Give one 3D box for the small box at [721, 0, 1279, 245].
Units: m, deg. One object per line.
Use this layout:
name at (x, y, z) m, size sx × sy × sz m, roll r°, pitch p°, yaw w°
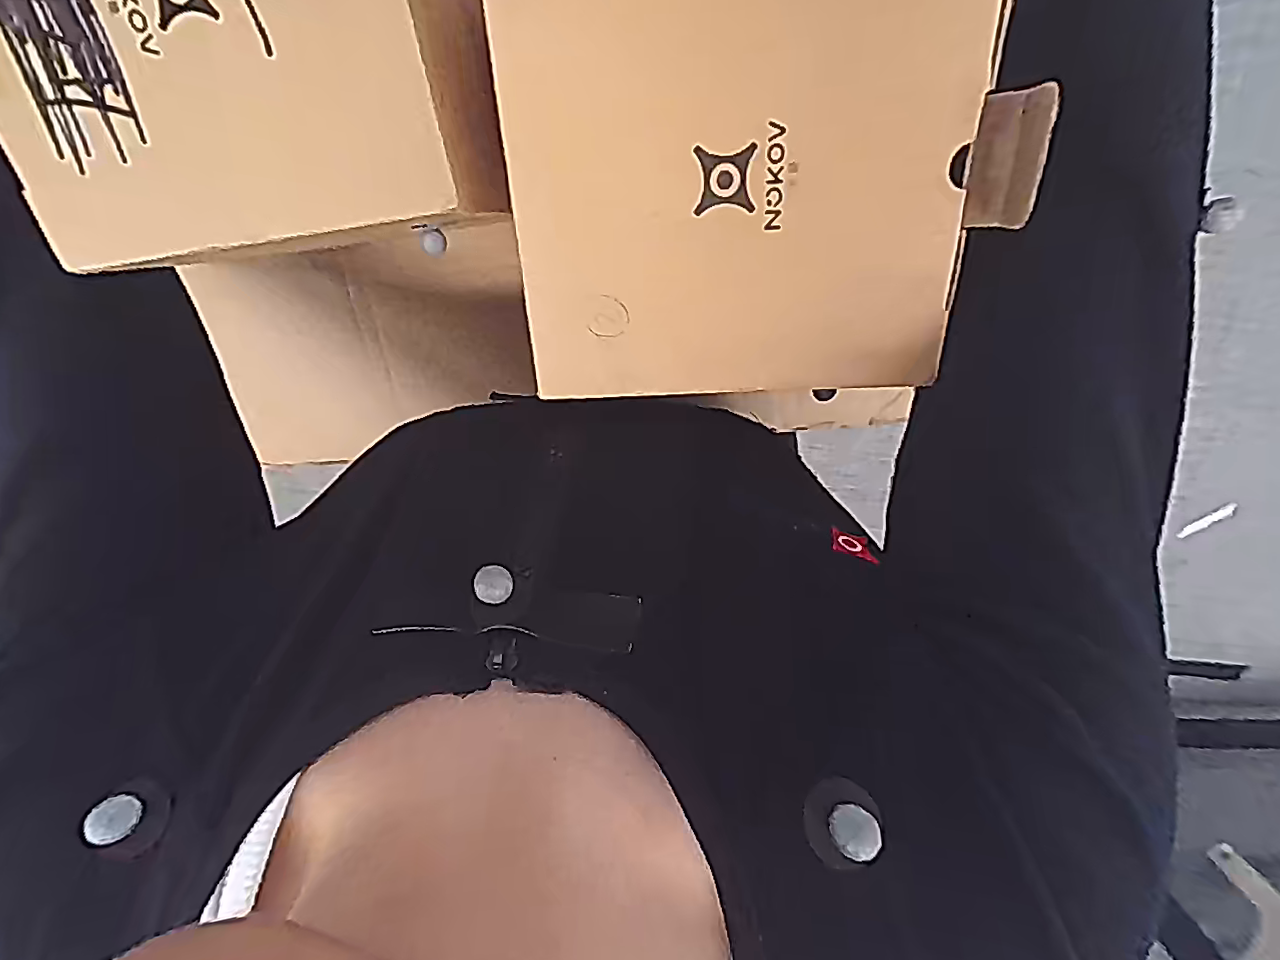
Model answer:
small box at (0.140, -0.215, 0.225) m, size 0.179 × 0.176 × 0.168 m, roll 11°, pitch 128°, yaw -4°
